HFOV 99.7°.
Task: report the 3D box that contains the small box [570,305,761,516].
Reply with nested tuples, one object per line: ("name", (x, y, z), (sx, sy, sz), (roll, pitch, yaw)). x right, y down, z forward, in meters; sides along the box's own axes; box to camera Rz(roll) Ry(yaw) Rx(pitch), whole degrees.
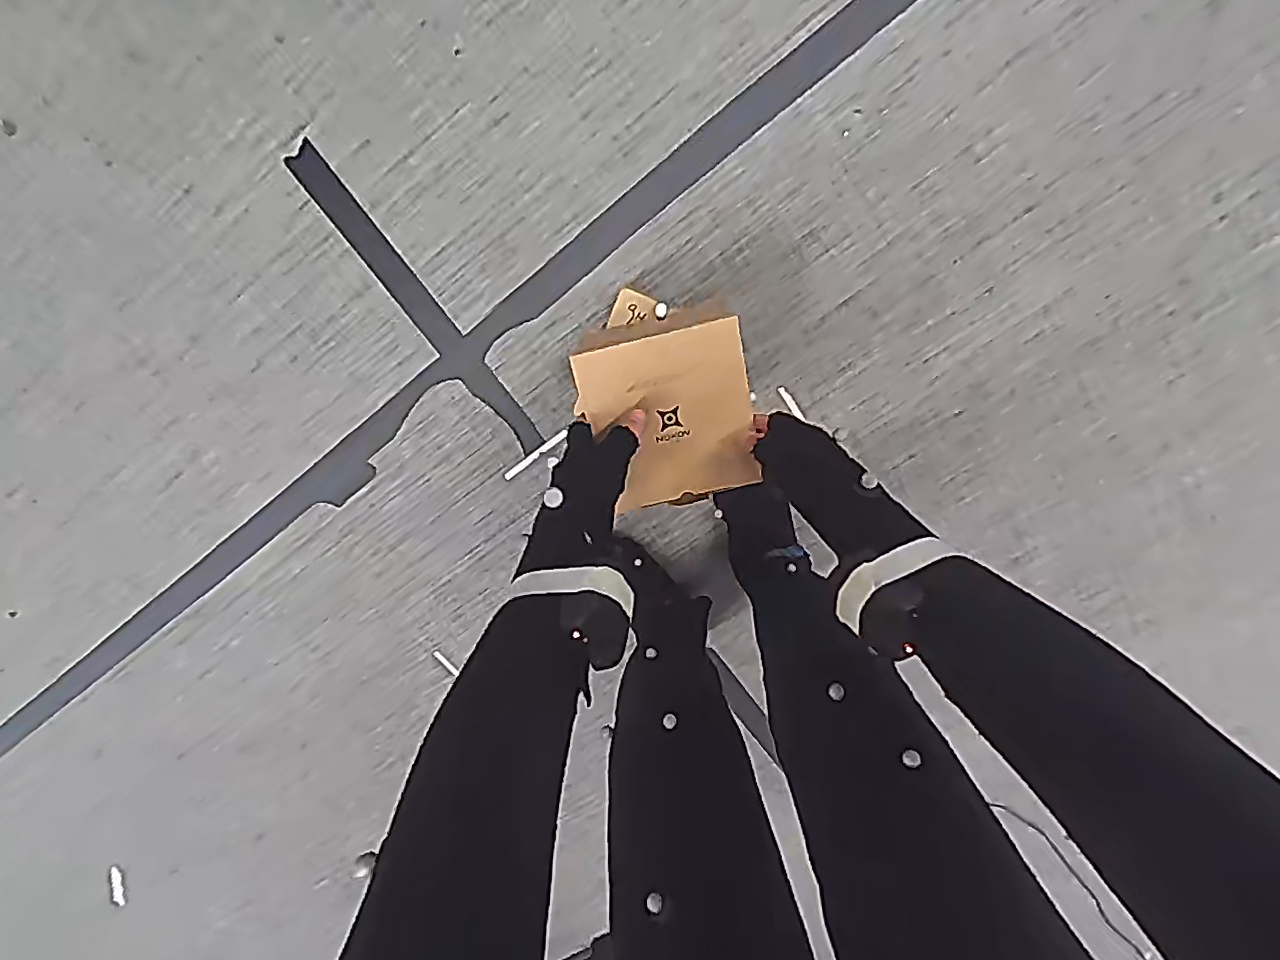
("small box", (0.030, -0.086, 0.614), (0.168, 0.176, 0.179), (-13, 112, 4))

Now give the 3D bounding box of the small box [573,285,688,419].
("small box", (0.018, -0.163, 0.771), (0.168, 0.176, 0.179), (20, 109, -7))
